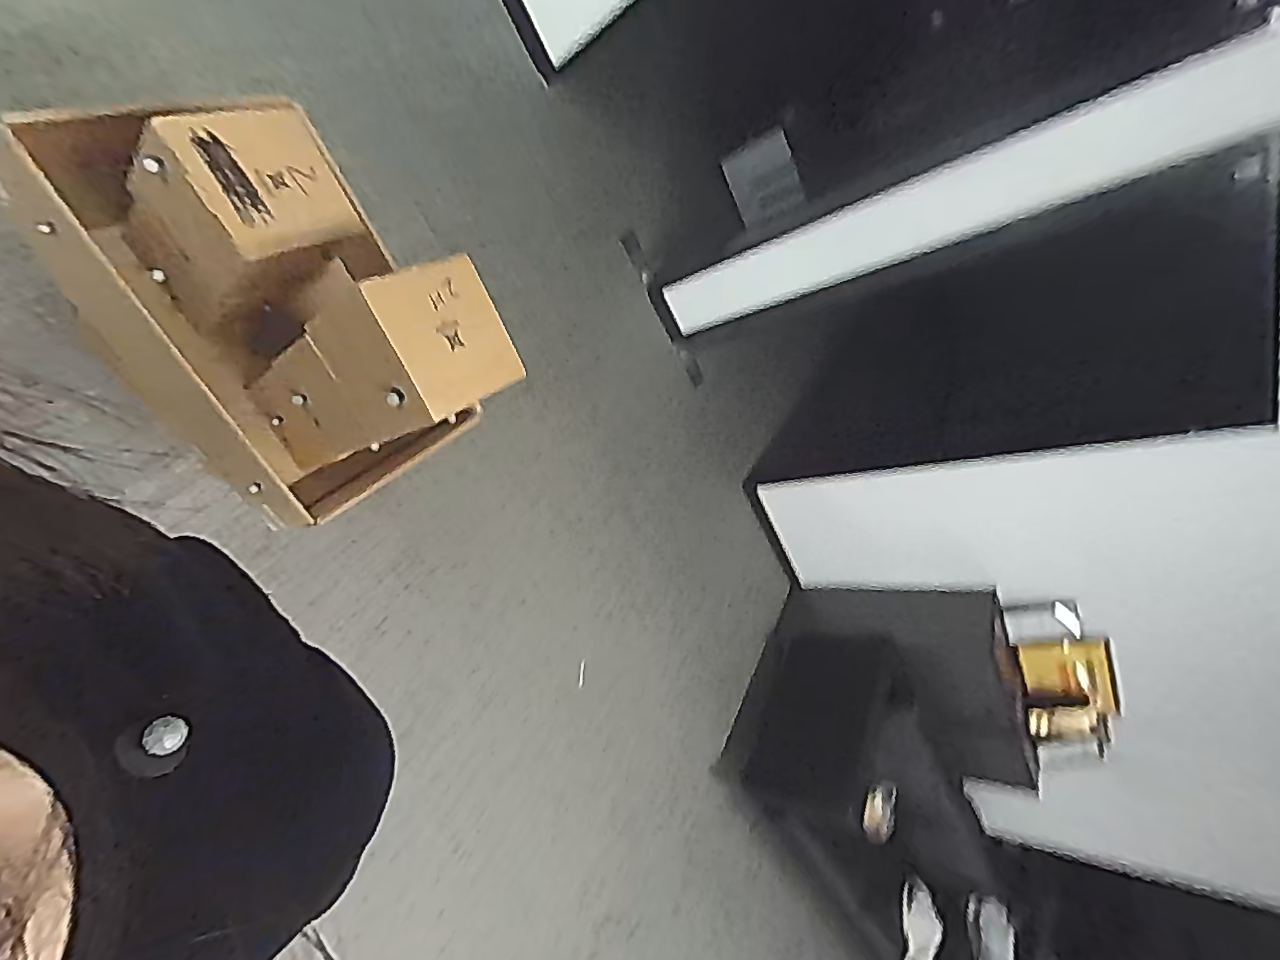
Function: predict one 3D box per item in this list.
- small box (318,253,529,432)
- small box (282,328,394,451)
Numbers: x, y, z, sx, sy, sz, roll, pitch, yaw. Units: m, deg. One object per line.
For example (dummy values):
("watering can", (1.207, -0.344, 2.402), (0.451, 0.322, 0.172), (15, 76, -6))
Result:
("small box", (-0.290, -0.175, 0.729), (0.168, 0.176, 0.179), (-41, 113, -43))
("small box", (-0.410, -0.161, 0.842), (0.179, 0.176, 0.168), (-42, 115, -42))
